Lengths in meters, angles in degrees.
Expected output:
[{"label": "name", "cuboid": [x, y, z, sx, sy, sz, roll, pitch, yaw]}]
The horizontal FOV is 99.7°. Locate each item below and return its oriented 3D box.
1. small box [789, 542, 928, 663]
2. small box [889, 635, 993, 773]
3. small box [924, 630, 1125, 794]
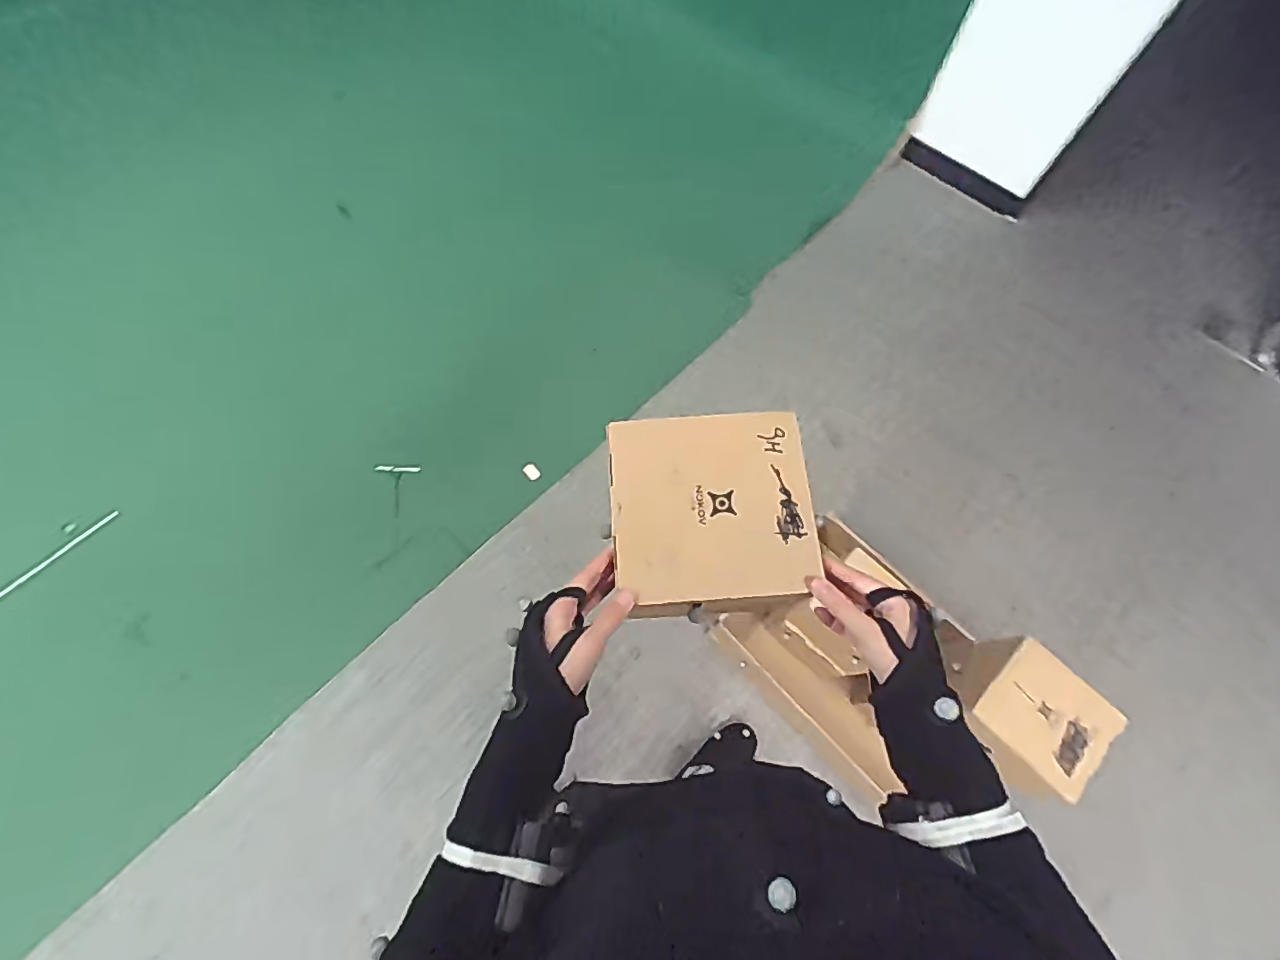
[{"label": "small box", "cuboid": [0.438, 0.261, 1.117, 0.179, 0.176, 0.168, 42, 74, 13]}, {"label": "small box", "cuboid": [0.617, 0.429, 1.050, 0.179, 0.176, 0.168, -41, 74, -15]}, {"label": "small box", "cuboid": [0.620, 0.377, 0.897, 0.168, 0.176, 0.179, -39, 70, -13]}]
